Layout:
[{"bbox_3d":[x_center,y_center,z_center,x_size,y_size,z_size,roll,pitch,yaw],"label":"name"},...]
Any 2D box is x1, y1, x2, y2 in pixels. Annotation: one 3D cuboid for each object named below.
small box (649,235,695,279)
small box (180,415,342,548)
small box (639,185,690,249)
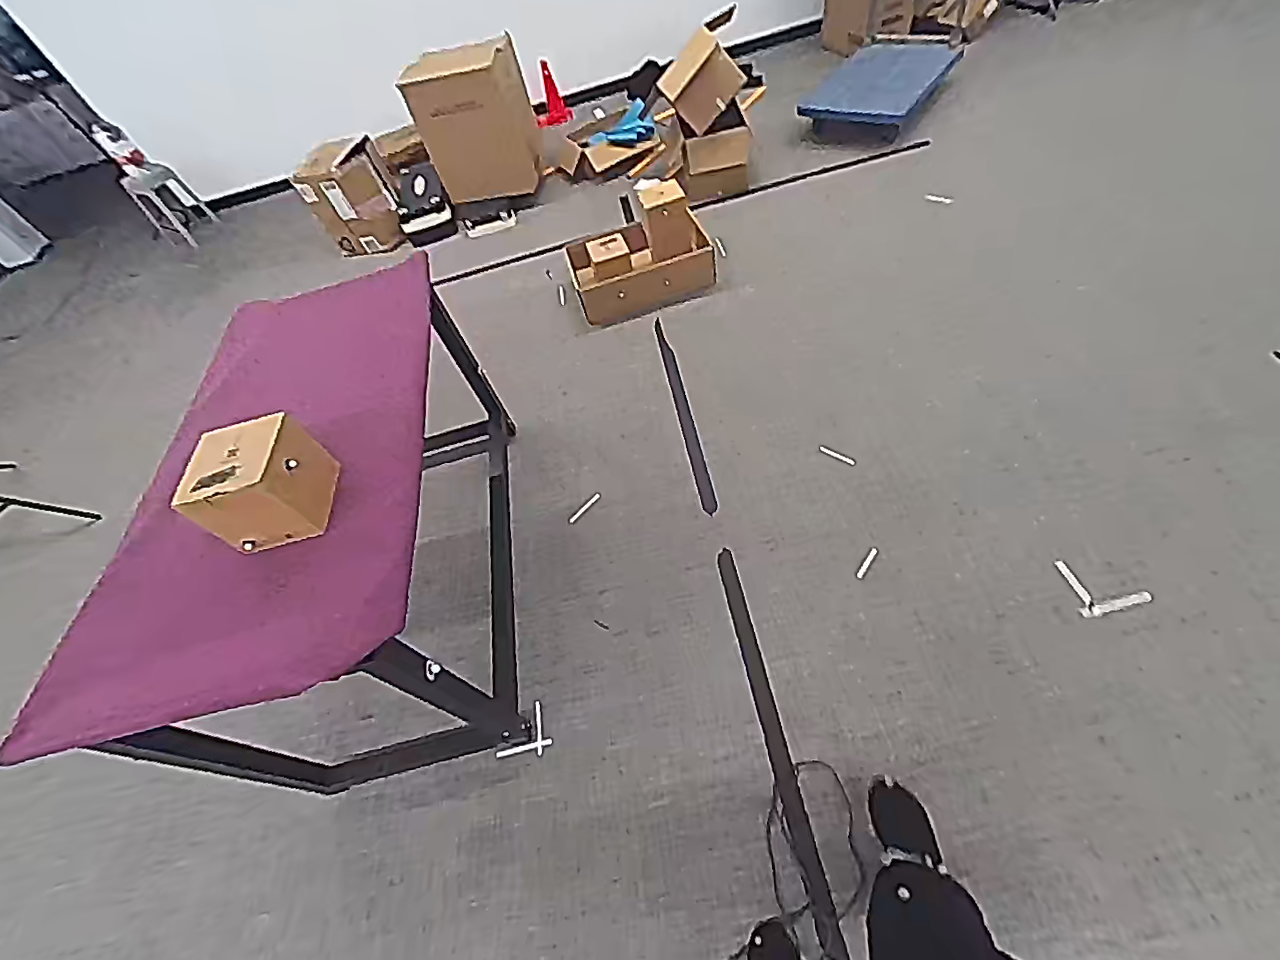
[{"bbox_3d":[0.145,-1.035,2.455,0.168,0.176,0.179,-17,51,1],"label":"small box"},{"bbox_3d":[-0.699,0.011,1.023,0.168,0.176,0.179,-14,51,3],"label":"small box"},{"bbox_3d":[0.110,-1.128,2.326,0.179,0.176,0.168,-18,52,2],"label":"small box"}]
